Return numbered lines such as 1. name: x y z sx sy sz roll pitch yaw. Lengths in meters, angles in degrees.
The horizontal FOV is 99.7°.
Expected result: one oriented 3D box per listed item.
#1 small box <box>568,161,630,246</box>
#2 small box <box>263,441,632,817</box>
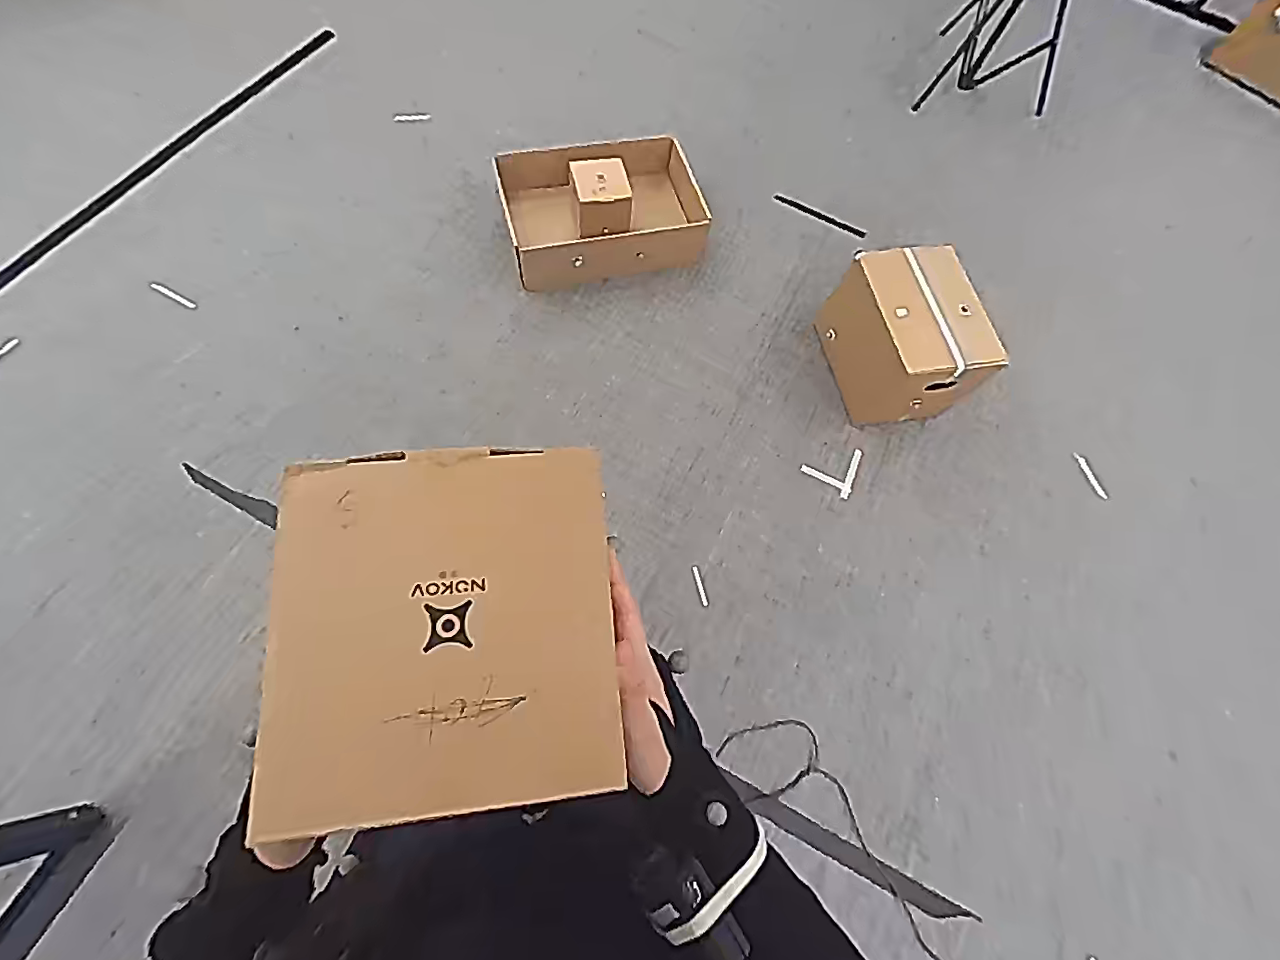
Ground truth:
1. small box: -0.136 -0.886 1.739 0.168 0.176 0.179 -11 70 -10
2. small box: -0.101 0.087 0.347 0.168 0.176 0.179 -3 73 -9
